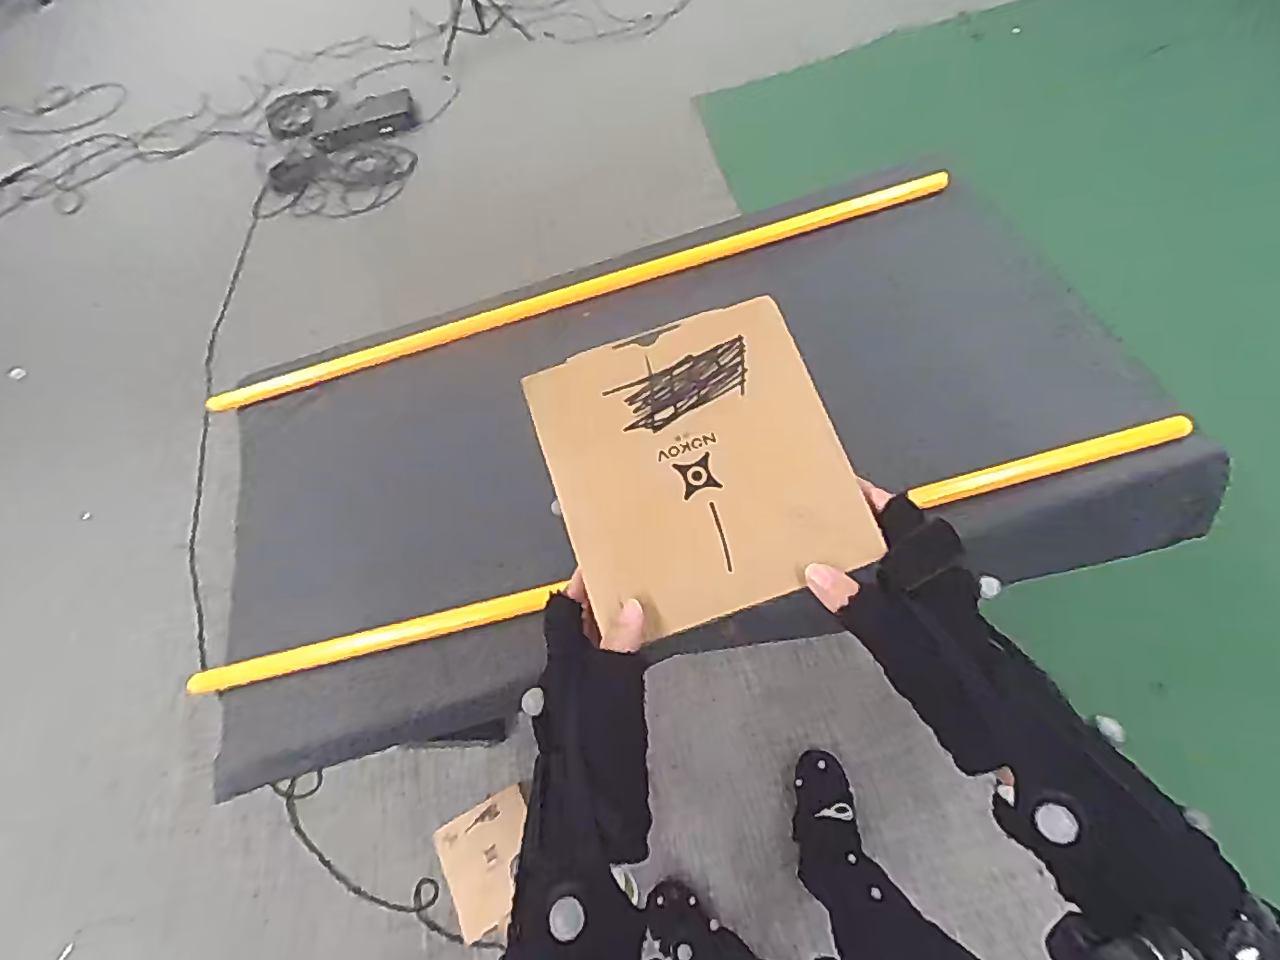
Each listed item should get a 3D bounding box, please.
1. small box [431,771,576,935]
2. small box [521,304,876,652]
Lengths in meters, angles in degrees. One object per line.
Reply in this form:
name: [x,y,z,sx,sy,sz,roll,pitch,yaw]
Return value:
small box: [-0.238,0.657,0.980,0.168,0.176,0.179,-32,64,-5]
small box: [0.032,0.012,0.392,0.168,0.176,0.179,-19,75,0]
